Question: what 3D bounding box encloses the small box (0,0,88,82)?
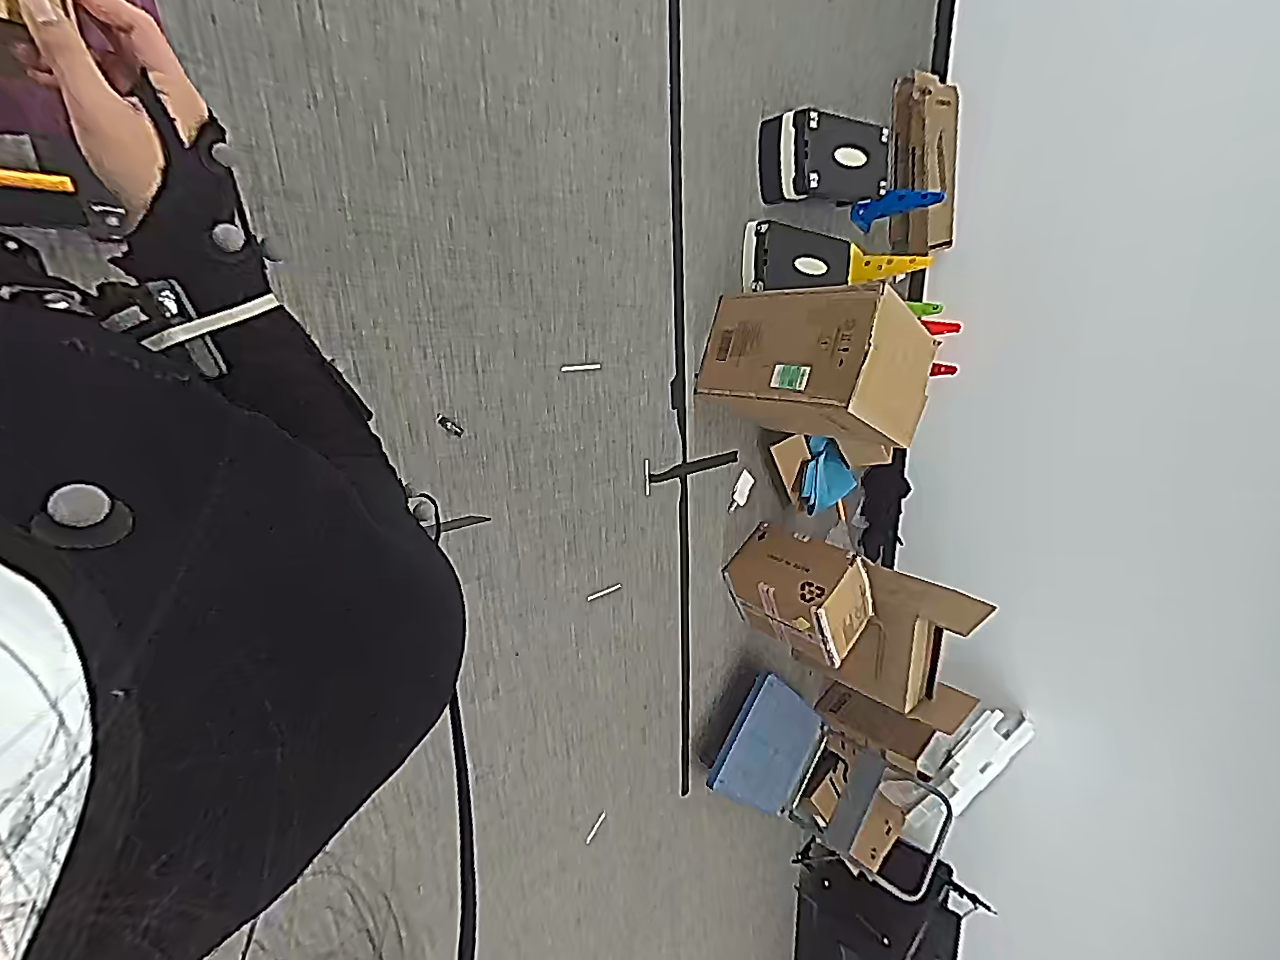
[{"bbox_3d":[-0.407,-0.319,0.256,0.179,0.176,0.168,-13,117,-39],"label":"small box"}]
